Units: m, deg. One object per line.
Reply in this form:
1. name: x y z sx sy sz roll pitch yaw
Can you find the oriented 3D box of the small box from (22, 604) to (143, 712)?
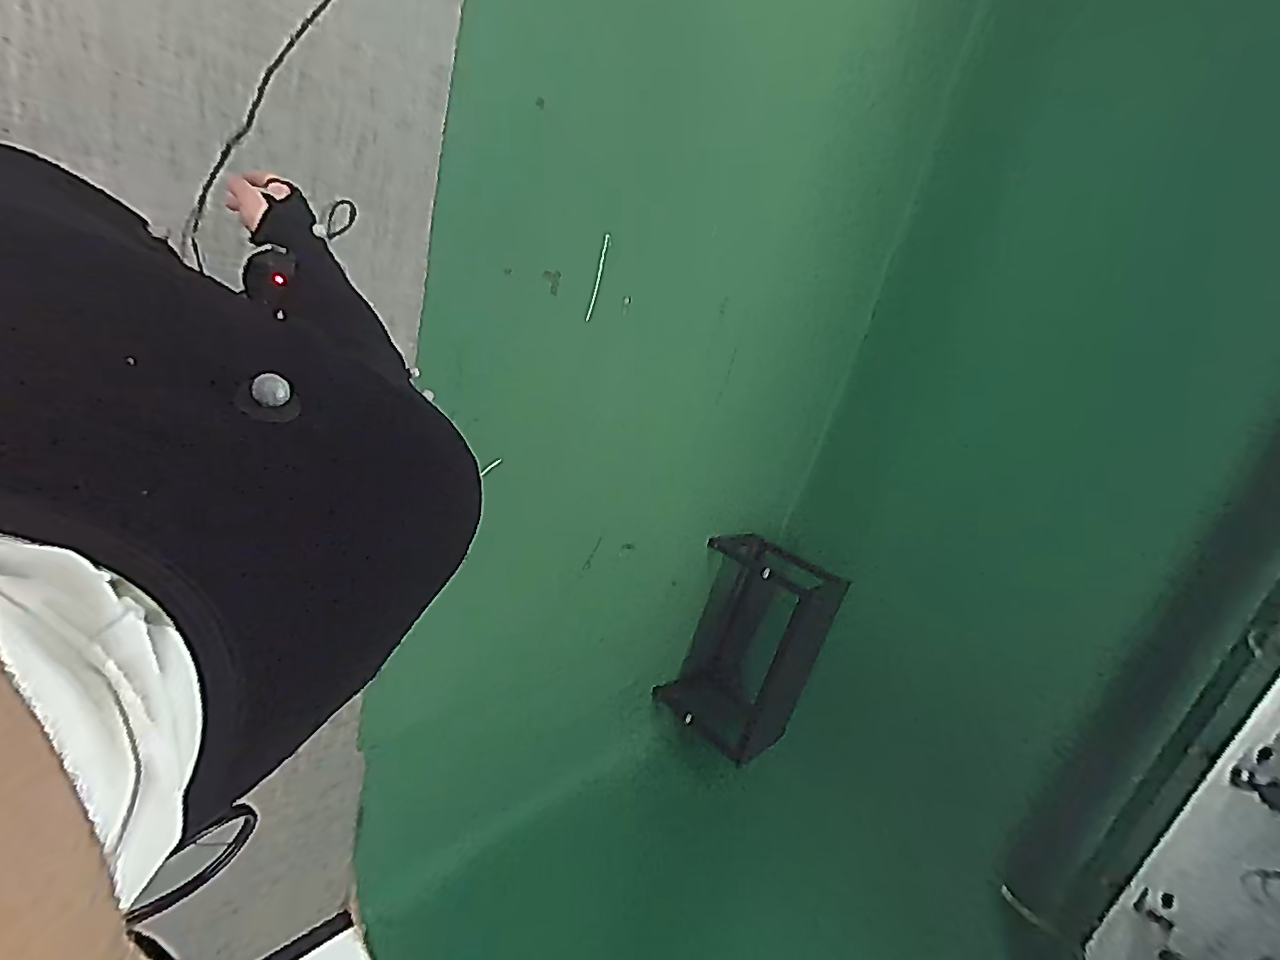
1. small box: -1.319 0.410 1.279 0.179 0.176 0.168 9 106 -51
